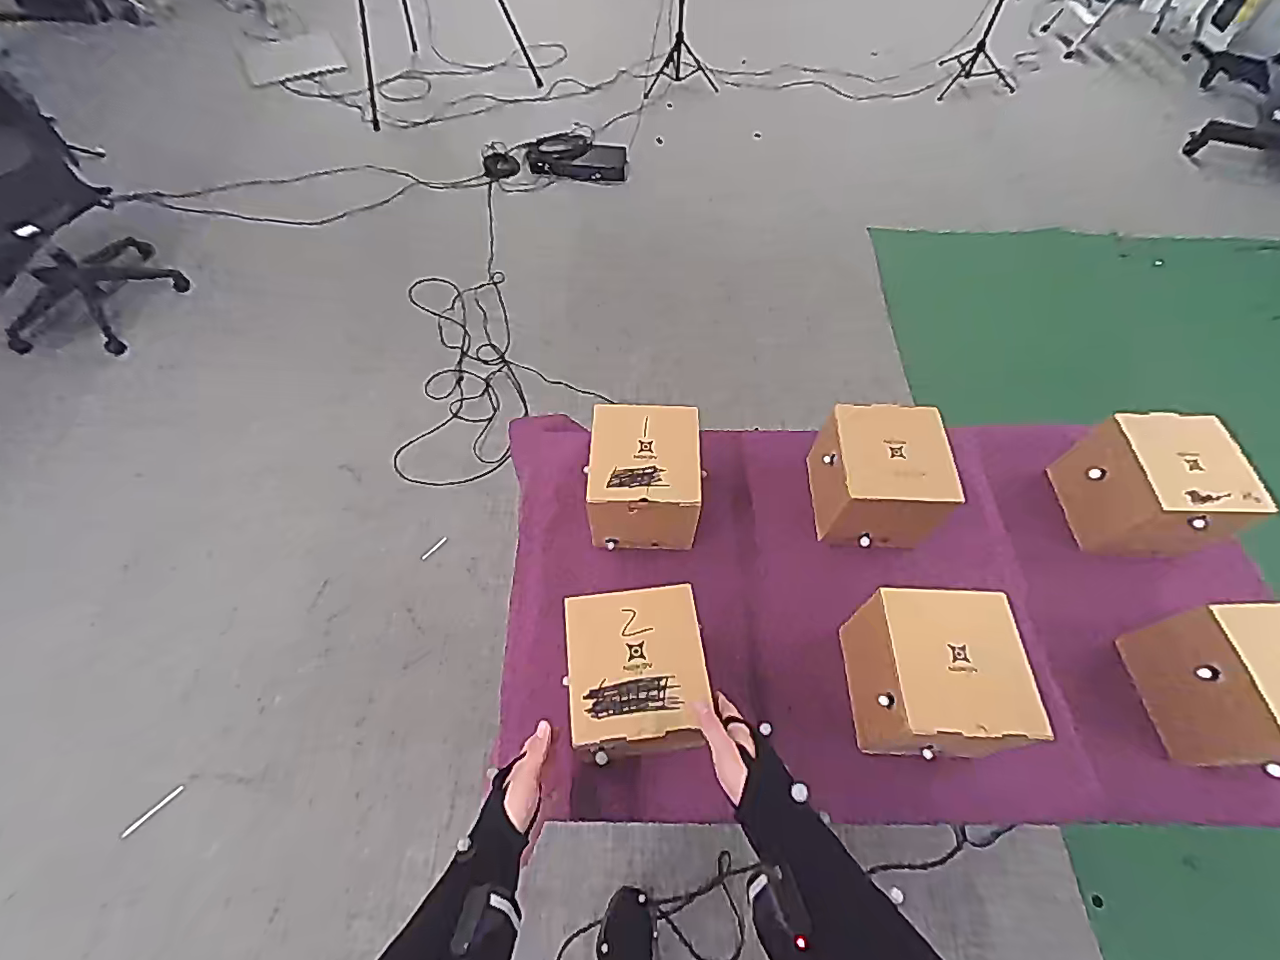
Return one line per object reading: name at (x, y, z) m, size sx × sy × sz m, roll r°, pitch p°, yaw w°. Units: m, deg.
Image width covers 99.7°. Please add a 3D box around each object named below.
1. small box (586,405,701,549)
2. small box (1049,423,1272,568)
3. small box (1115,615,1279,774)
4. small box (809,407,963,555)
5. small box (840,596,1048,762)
small box at (0.007, 0.002, 0.865) m, size 0.168 × 0.176 × 0.179 m, roll 3°, pitch 60°, yaw -1°
small box at (0.819, 0.029, 0.880) m, size 0.168 × 0.176 × 0.179 m, roll 2°, pitch 60°, yaw 0°
small box at (0.804, 0.291, 0.723) m, size 0.168 × 0.176 × 0.179 m, roll 0°, pitch 60°, yaw 0°
small box at (0.383, 0.005, 0.881) m, size 0.168 × 0.176 × 0.179 m, roll 4°, pitch 61°, yaw 1°
small box at (0.384, 0.271, 0.726) m, size 0.168 × 0.176 × 0.179 m, roll 3°, pitch 59°, yaw -1°
